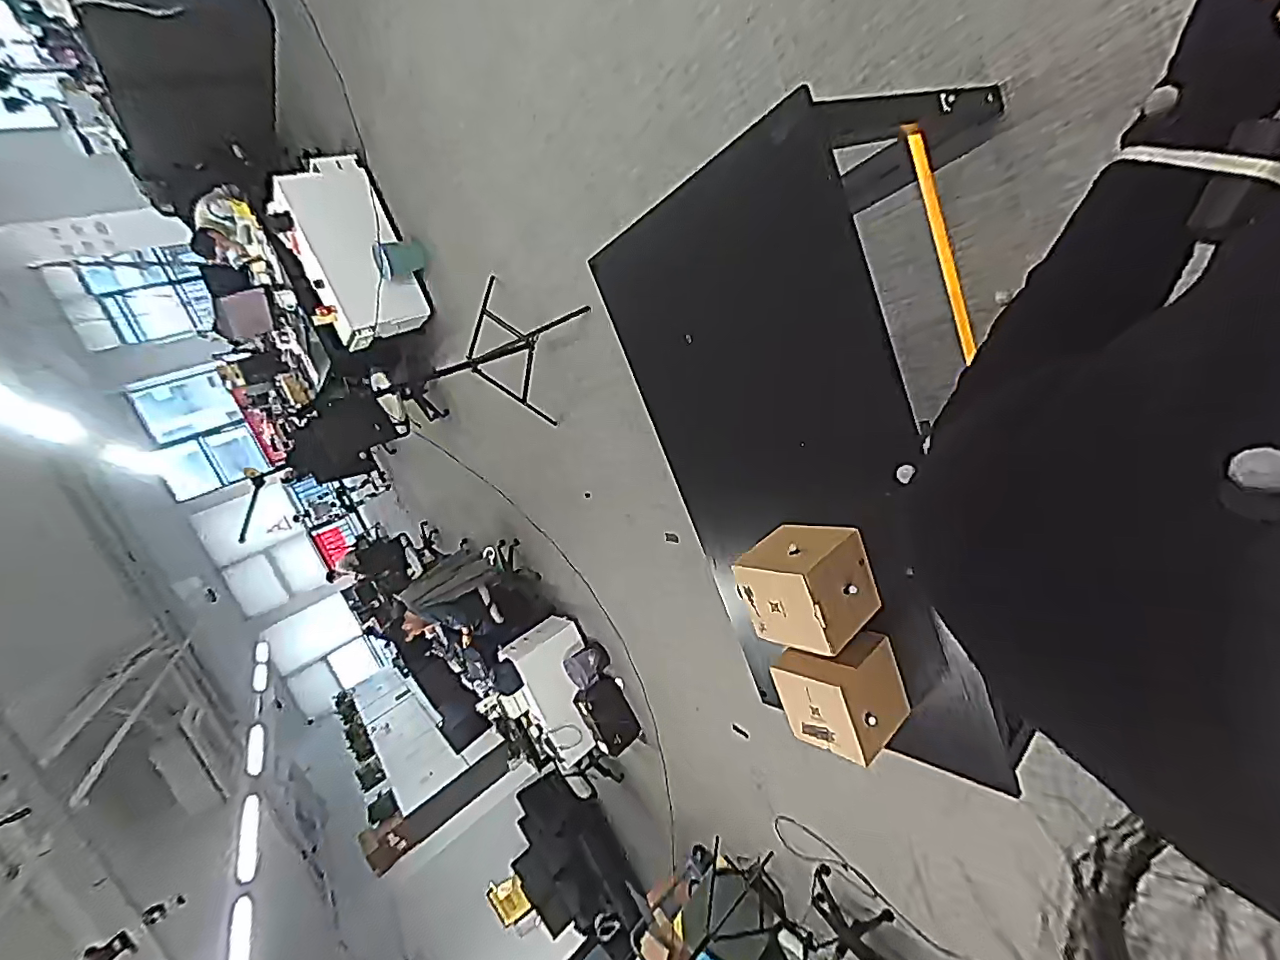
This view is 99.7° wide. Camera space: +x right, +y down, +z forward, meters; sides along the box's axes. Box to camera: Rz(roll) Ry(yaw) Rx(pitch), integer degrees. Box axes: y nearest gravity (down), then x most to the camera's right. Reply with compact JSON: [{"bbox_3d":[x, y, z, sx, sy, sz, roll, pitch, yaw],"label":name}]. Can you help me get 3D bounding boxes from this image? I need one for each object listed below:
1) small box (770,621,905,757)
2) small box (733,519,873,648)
[{"bbox_3d":[0.394,0.395,1.070,0.168,0.176,0.179,-4,111,55],"label":"small box"},{"bbox_3d":[0.313,0.183,1.017,0.179,0.176,0.168,-3,112,55],"label":"small box"}]
